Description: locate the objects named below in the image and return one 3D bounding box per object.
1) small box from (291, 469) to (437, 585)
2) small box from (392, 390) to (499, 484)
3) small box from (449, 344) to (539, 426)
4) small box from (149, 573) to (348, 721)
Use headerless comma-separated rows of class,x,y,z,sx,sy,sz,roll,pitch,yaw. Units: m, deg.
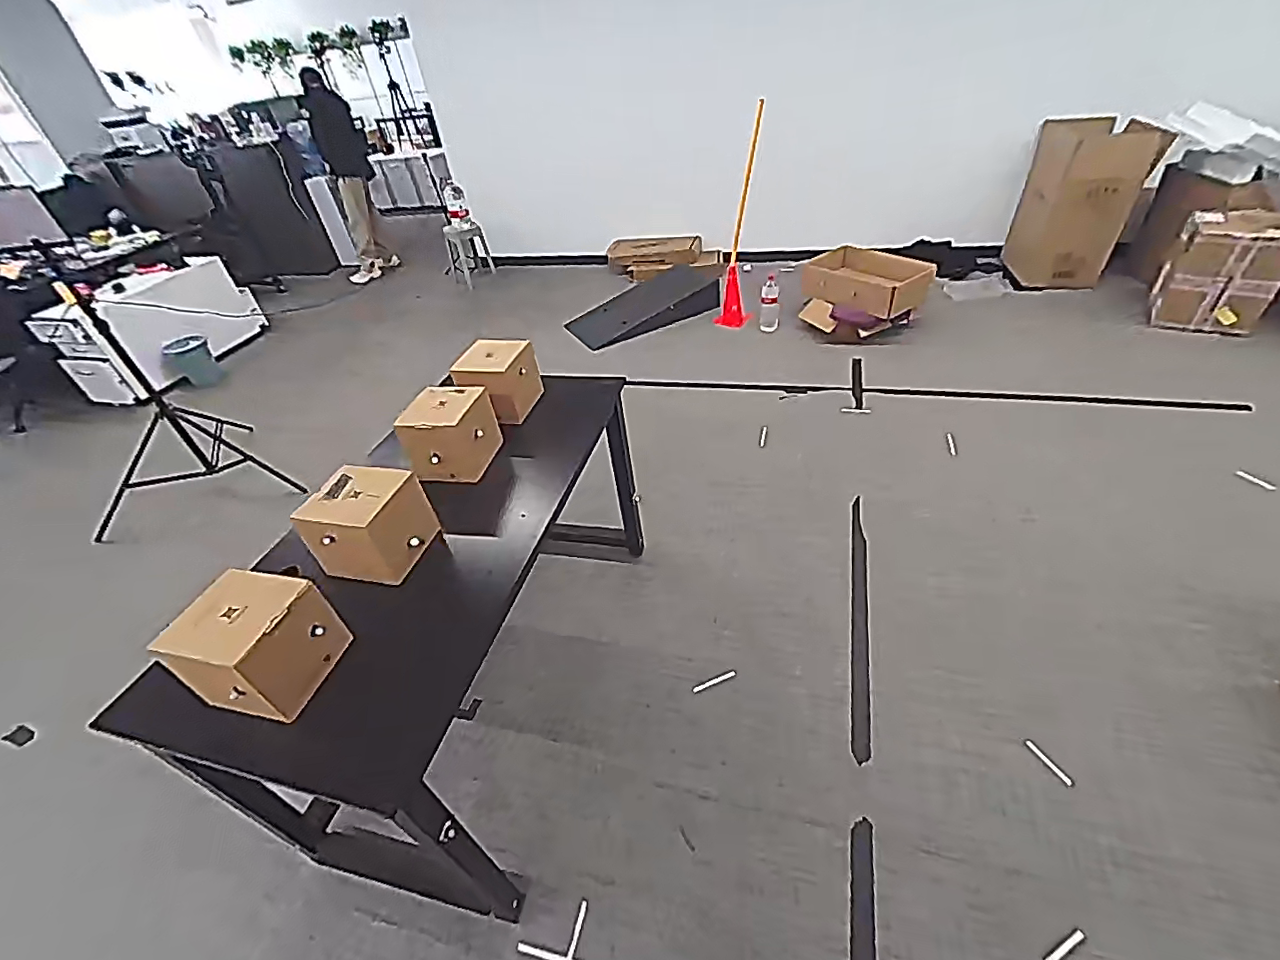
small box,-0.556,0.097,1.113,0.179,0.176,0.168,5,41,14
small box,-0.470,-0.106,1.343,0.168,0.176,0.179,2,41,12
small box,-0.400,-0.267,1.523,0.168,0.176,0.179,5,42,15
small box,-0.636,0.280,0.907,0.179,0.176,0.168,3,39,14
